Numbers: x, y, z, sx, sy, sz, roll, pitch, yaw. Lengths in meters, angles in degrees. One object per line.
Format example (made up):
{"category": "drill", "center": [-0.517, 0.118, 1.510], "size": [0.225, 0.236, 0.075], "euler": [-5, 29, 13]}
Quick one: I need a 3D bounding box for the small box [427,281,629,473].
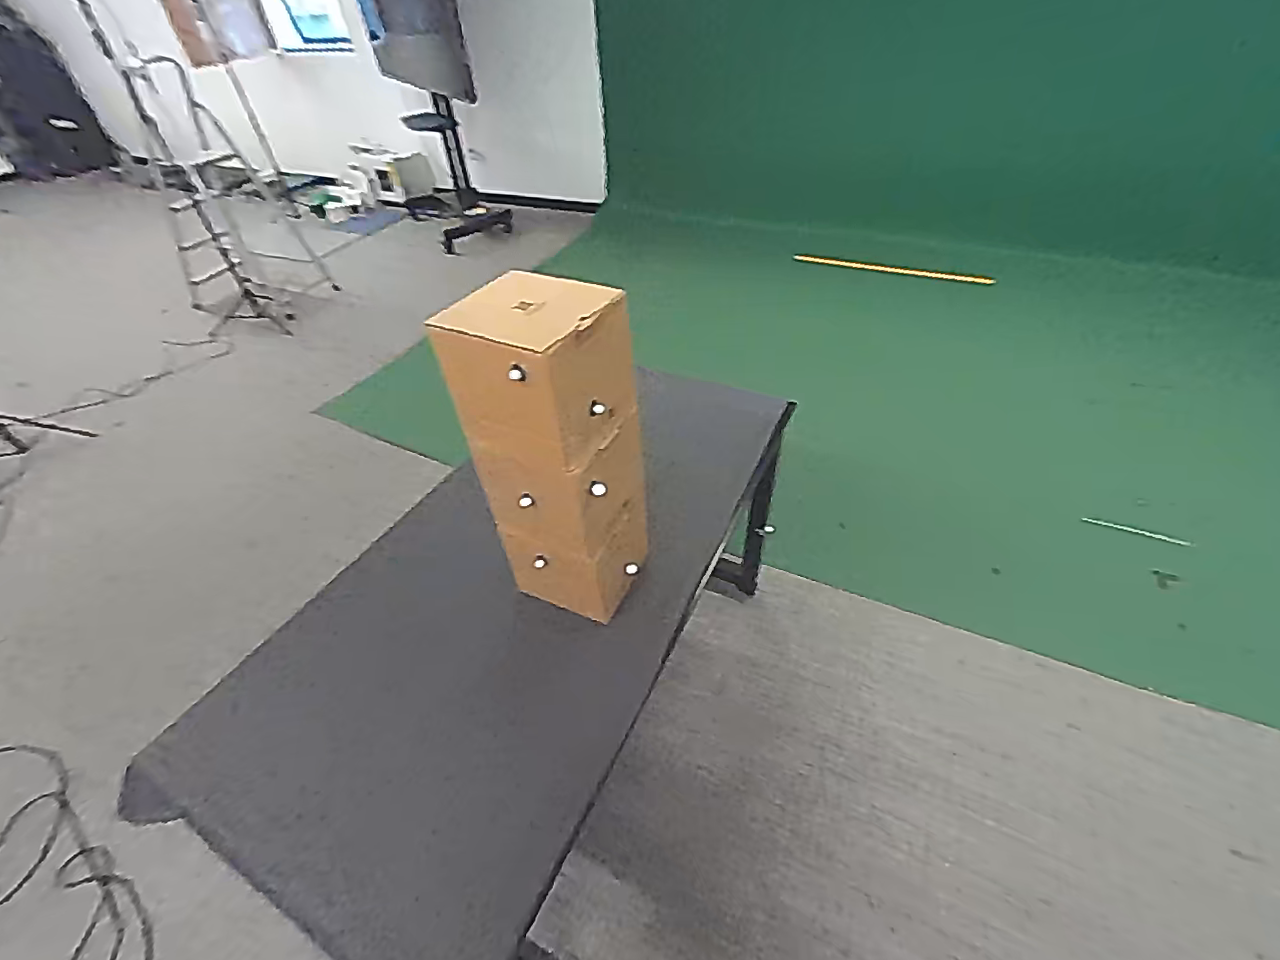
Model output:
{"category": "small box", "center": [-0.129, -0.132, 0.688], "size": [0.179, 0.176, 0.168], "euler": [19, 47, 22]}

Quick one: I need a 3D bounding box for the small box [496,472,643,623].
{"category": "small box", "center": [-0.107, 0.112, 0.905], "size": [0.179, 0.176, 0.168], "euler": [16, 47, 20]}
